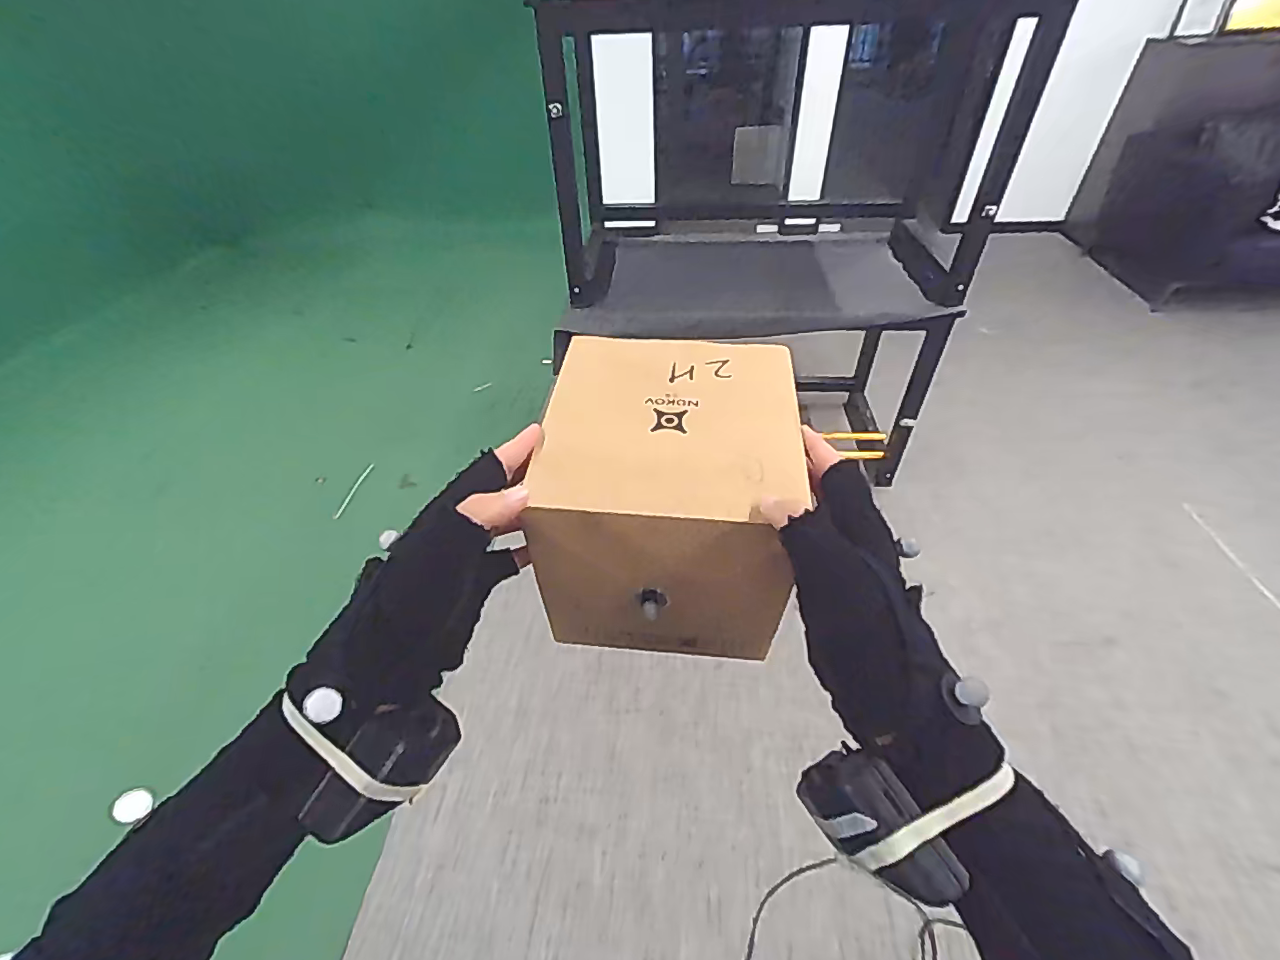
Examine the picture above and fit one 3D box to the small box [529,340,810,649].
[{"bbox_3d":[0.025,0.012,0.421,0.168,0.176,0.179,4,46,4],"label":"small box"}]
